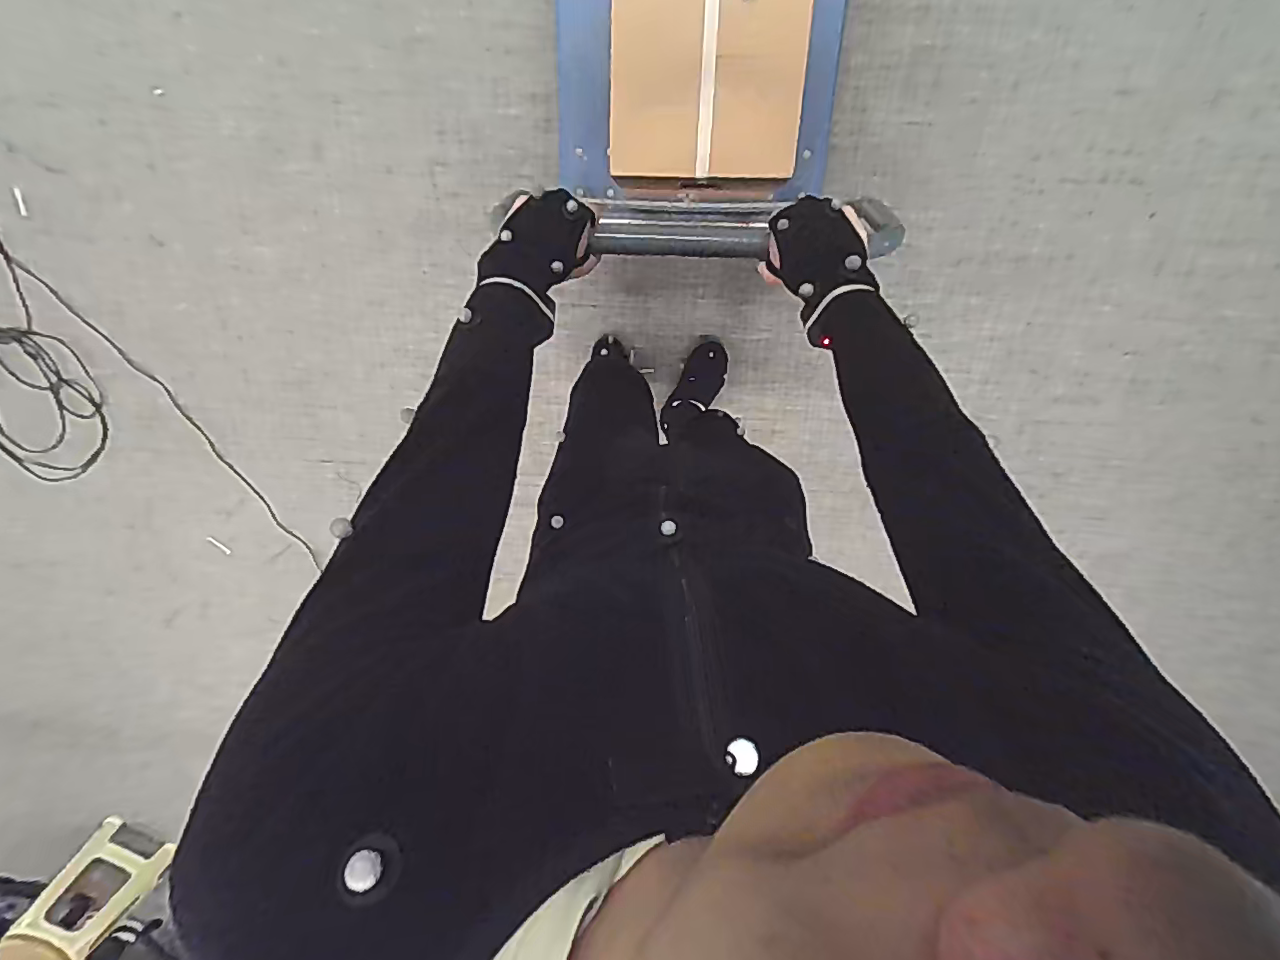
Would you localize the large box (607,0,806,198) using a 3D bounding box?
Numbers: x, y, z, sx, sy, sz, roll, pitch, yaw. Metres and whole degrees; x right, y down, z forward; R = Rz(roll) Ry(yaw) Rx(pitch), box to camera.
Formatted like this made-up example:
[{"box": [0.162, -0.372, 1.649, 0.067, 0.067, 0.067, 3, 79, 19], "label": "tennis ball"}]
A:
[{"box": [0.114, -0.759, 0.990, 0.320, 0.320, 0.408, 2, 111, 3], "label": "large box"}]
